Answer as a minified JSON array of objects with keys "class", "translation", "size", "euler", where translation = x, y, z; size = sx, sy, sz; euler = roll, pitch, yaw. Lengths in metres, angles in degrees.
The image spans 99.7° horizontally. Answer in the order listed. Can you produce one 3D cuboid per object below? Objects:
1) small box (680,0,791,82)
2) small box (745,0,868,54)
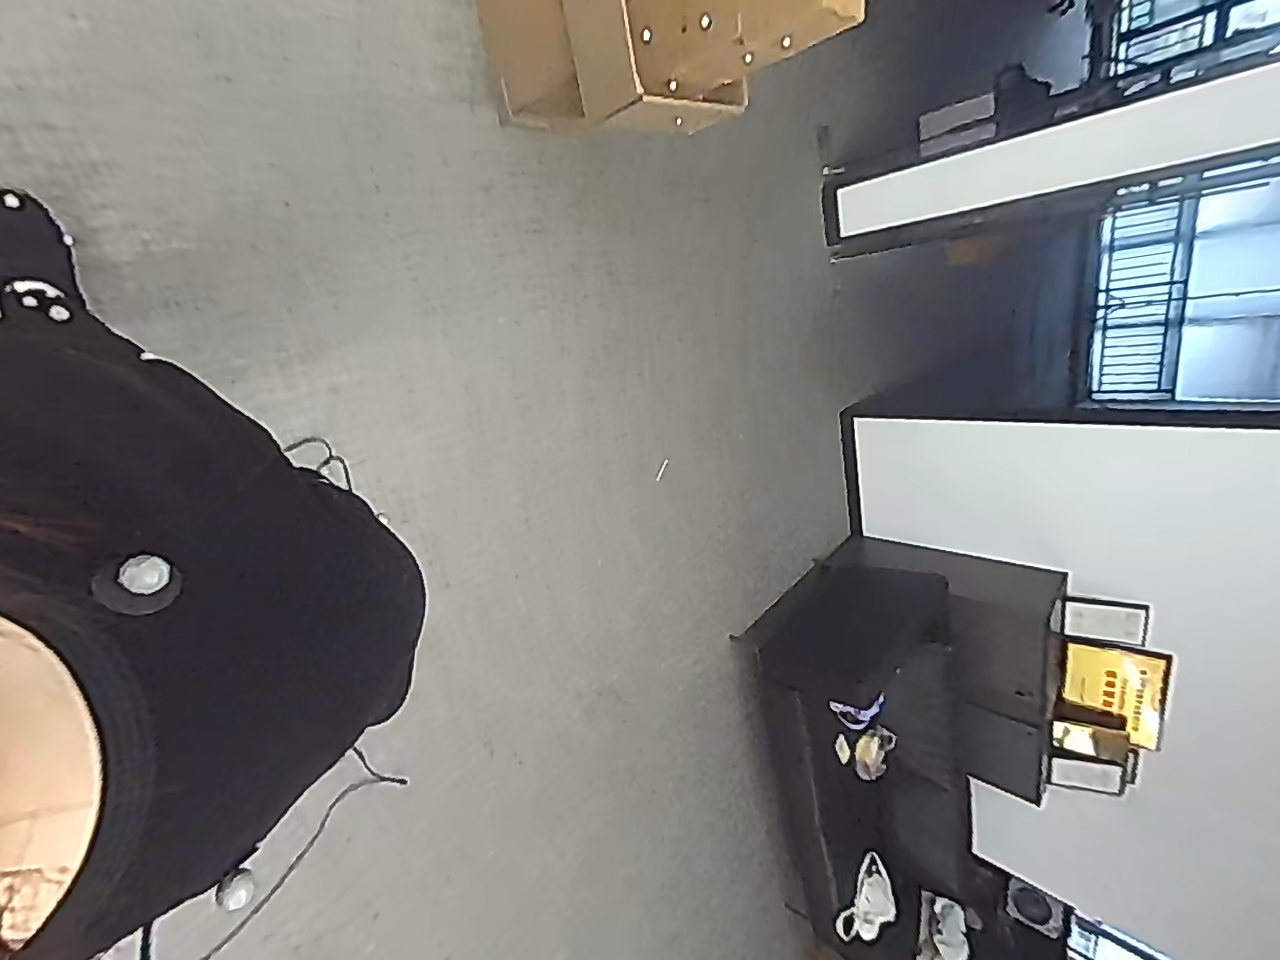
[{"class":"small box","translation":[0.194,-0.960,1.118],"size":[0.179,0.176,0.168],"euler":[-20,112,-40]},{"class":"small box","translation":[0.304,-0.936,1.001],"size":[0.168,0.176,0.179],"euler":[-26,116,-38]}]
